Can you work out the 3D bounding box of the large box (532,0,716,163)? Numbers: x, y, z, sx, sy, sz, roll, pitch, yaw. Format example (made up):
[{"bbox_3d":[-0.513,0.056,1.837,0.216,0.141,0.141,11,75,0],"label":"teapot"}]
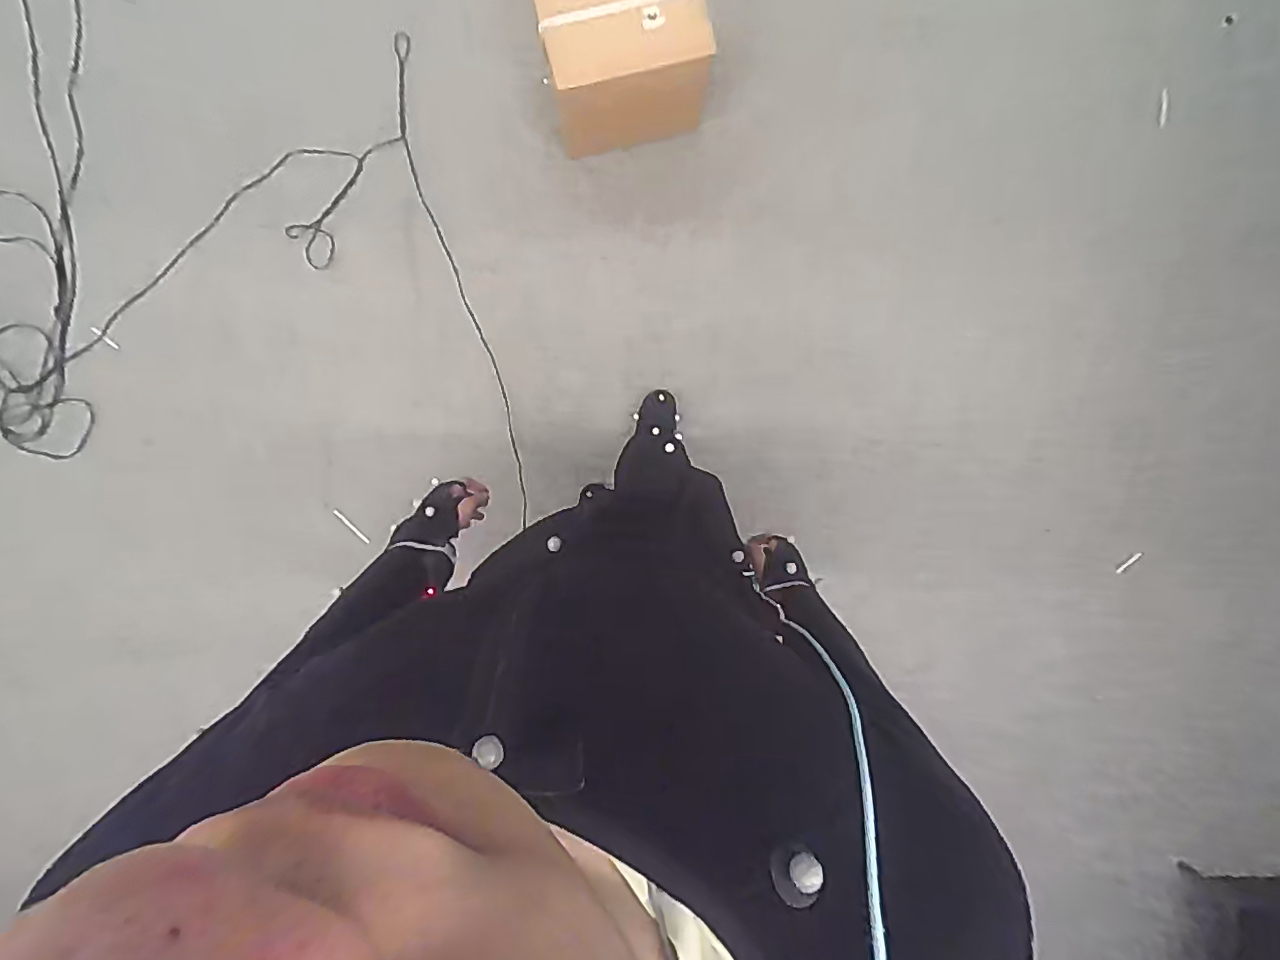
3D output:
[{"bbox_3d":[-0.047,-1.134,1.464,0.408,0.320,0.320,-14,92,-2],"label":"large box"}]
